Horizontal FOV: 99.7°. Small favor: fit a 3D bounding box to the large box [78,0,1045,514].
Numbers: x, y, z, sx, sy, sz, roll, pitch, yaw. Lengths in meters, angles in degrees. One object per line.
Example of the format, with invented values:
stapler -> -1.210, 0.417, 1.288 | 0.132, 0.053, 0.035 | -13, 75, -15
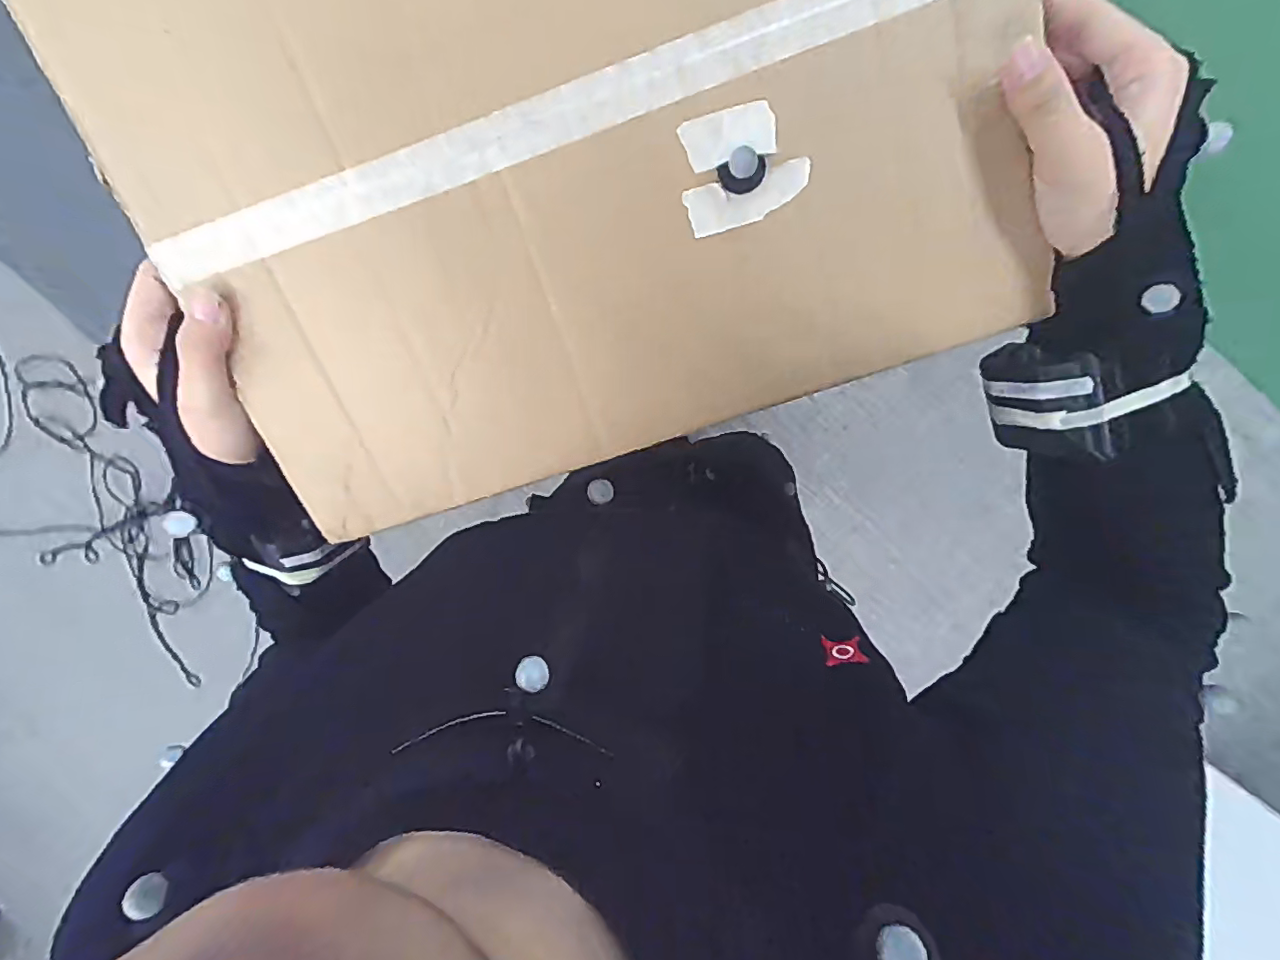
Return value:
large box -> -0.028, -0.223, 0.390 | 0.408, 0.320, 0.320 | -18, 110, 4
